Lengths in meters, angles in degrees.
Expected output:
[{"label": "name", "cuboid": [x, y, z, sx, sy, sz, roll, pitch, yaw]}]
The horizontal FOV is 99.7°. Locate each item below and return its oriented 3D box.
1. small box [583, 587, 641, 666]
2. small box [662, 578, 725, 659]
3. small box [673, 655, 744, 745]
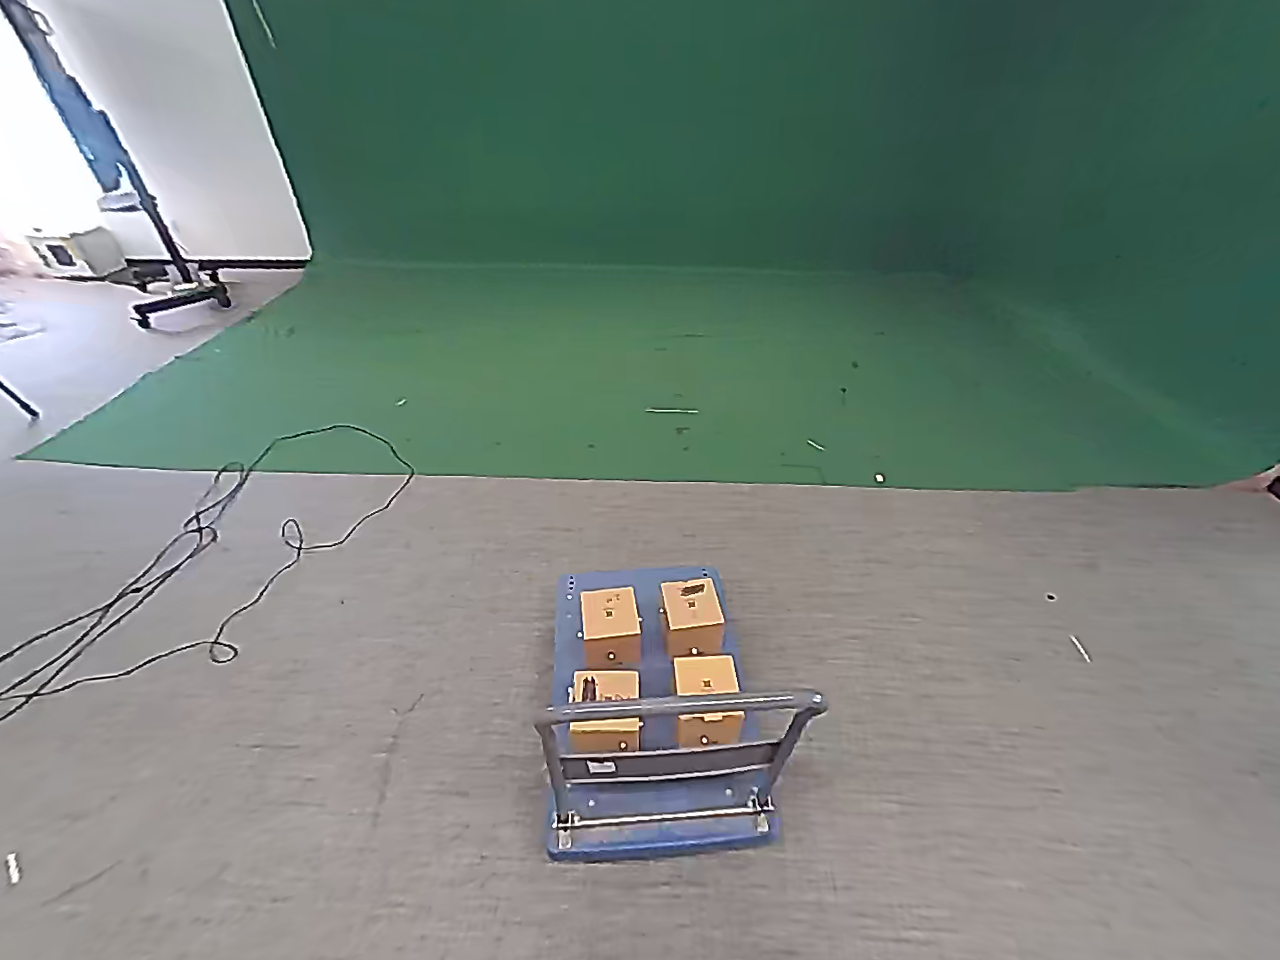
[{"label": "small box", "cuboid": [-0.088, 0.461, 1.680, 0.168, 0.176, 0.179, -4, 40, -7]}, {"label": "small box", "cuboid": [0.162, 0.437, 1.708, 0.168, 0.176, 0.179, -6, 41, -5]}, {"label": "small box", "cuboid": [0.183, 0.610, 1.501, 0.168, 0.176, 0.179, -2, 40, -3]}]
